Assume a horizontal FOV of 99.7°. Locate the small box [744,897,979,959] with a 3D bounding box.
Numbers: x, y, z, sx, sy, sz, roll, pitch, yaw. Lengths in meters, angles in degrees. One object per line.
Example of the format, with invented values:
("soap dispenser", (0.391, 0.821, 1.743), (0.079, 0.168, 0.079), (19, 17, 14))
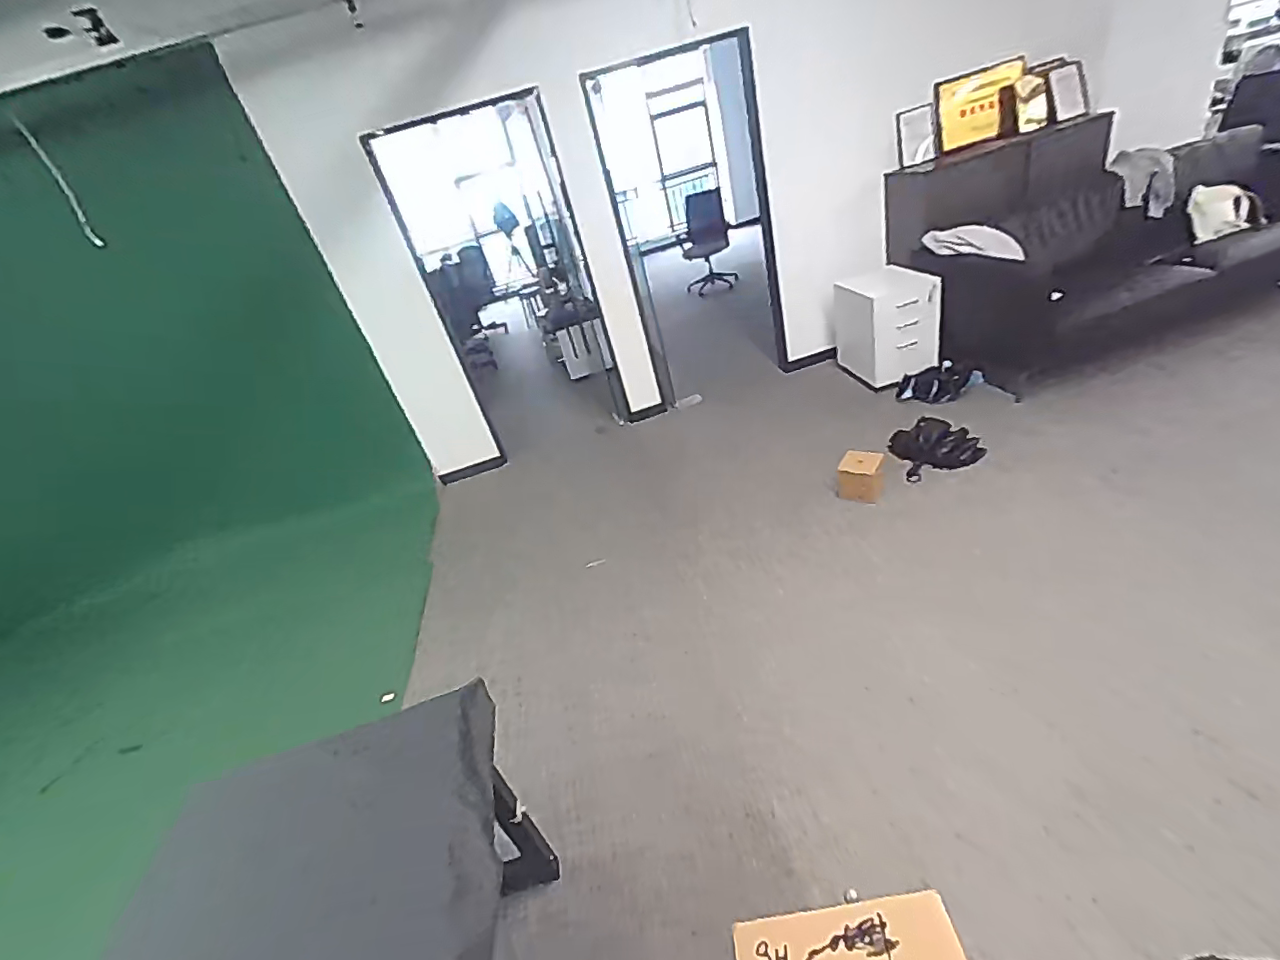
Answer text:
("small box", (0.186, 0.449, 0.404), (0.168, 0.176, 0.179), (-14, 38, 6))
